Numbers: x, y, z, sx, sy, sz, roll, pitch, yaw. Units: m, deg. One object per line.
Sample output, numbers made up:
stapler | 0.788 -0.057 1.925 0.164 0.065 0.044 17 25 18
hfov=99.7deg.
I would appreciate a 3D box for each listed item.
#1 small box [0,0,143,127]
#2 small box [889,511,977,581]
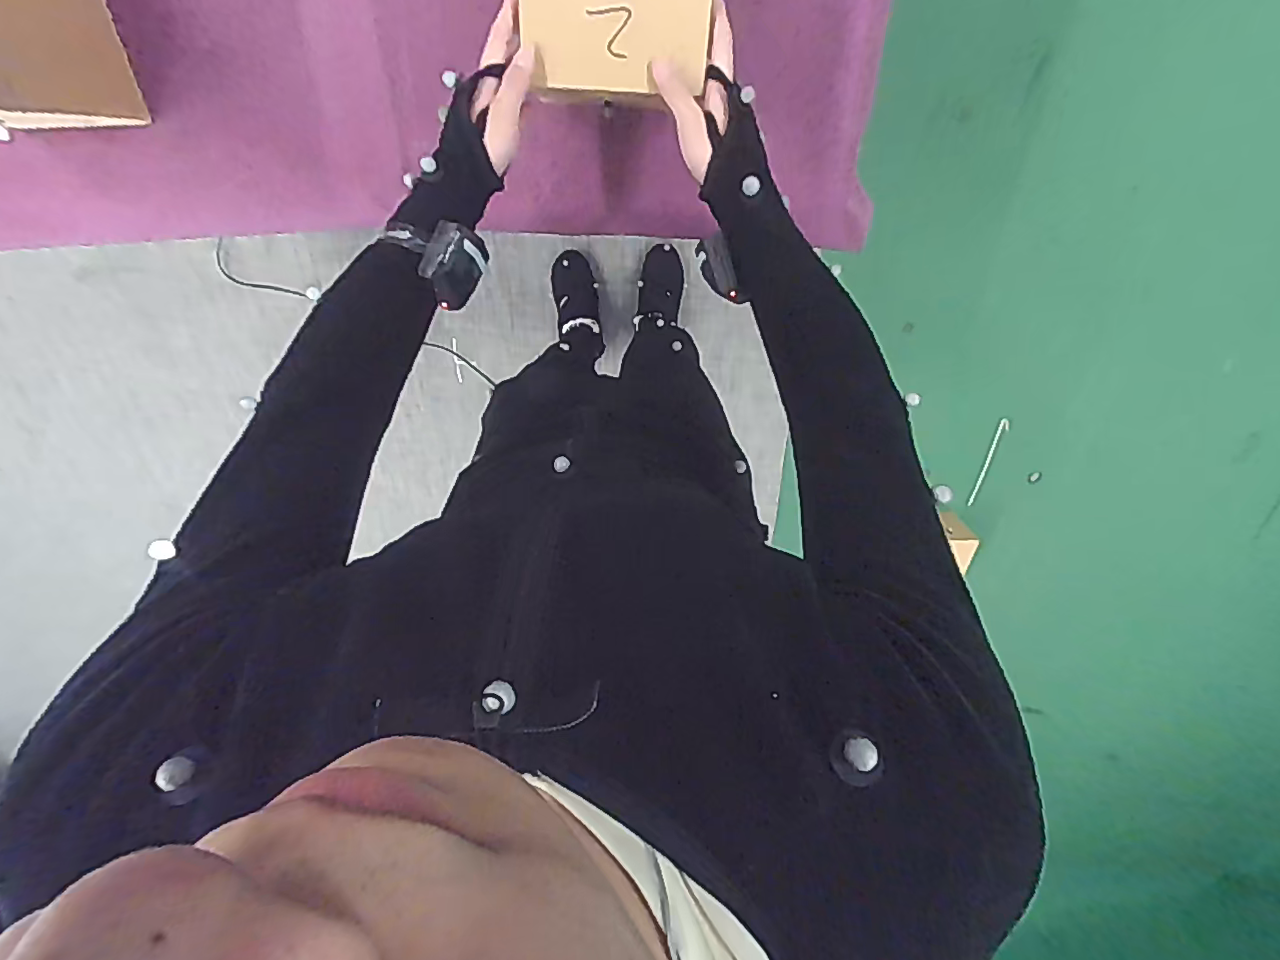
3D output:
small box | -0.672 -0.462 0.543 0.168 0.176 0.179 -1 120 0
small box | 0.964 0.215 1.792 0.179 0.176 0.168 3 120 -2
